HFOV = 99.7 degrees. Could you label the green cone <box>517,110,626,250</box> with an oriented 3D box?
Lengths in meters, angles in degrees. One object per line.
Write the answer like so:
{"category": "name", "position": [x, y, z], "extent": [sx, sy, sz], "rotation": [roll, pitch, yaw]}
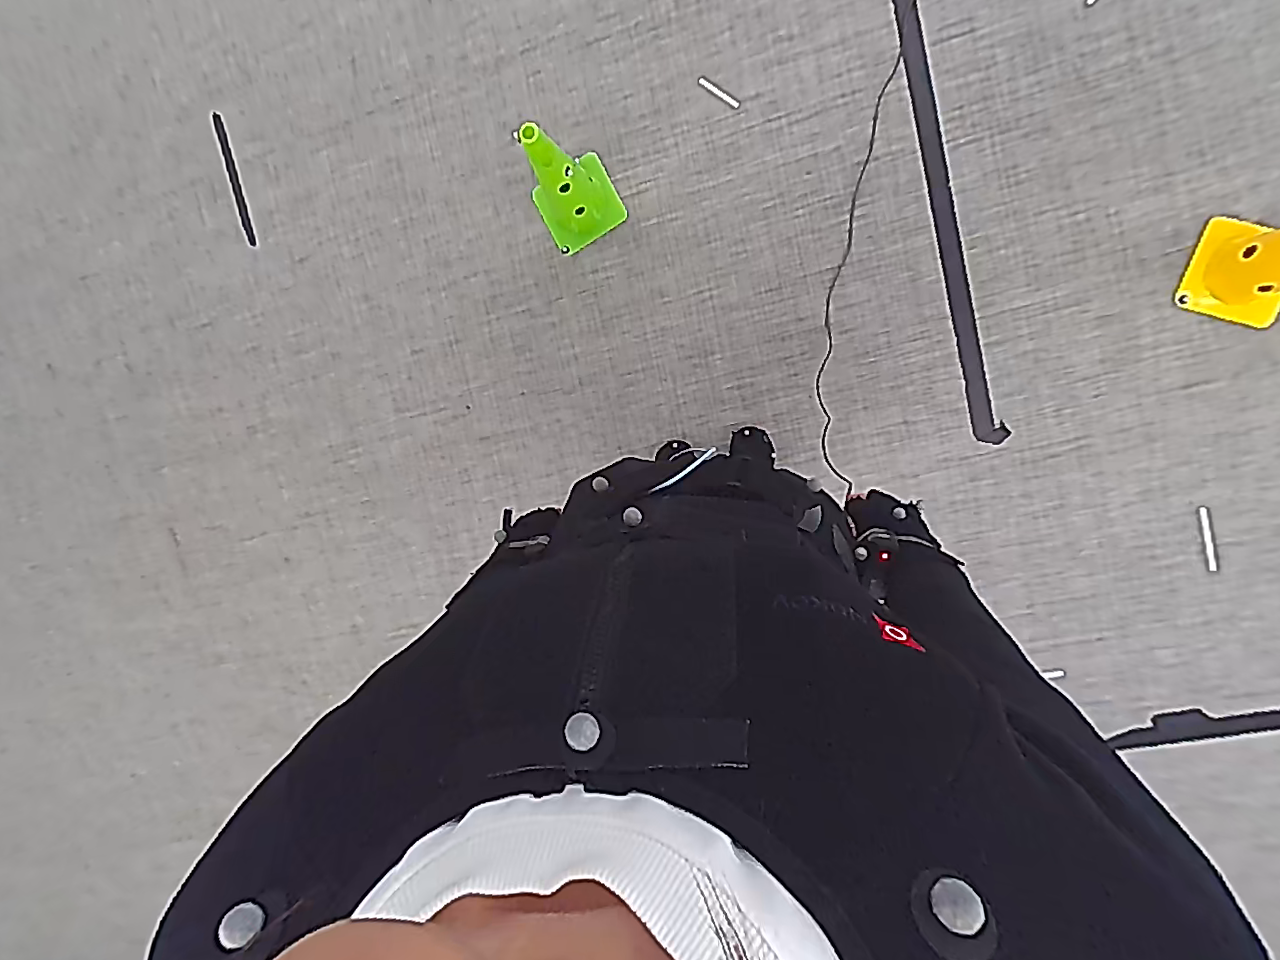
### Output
{"category": "green cone", "position": [-0.187, -0.714, 1.232], "extent": [0.200, 0.368, 0.202], "rotation": [-29, 89, 10]}
